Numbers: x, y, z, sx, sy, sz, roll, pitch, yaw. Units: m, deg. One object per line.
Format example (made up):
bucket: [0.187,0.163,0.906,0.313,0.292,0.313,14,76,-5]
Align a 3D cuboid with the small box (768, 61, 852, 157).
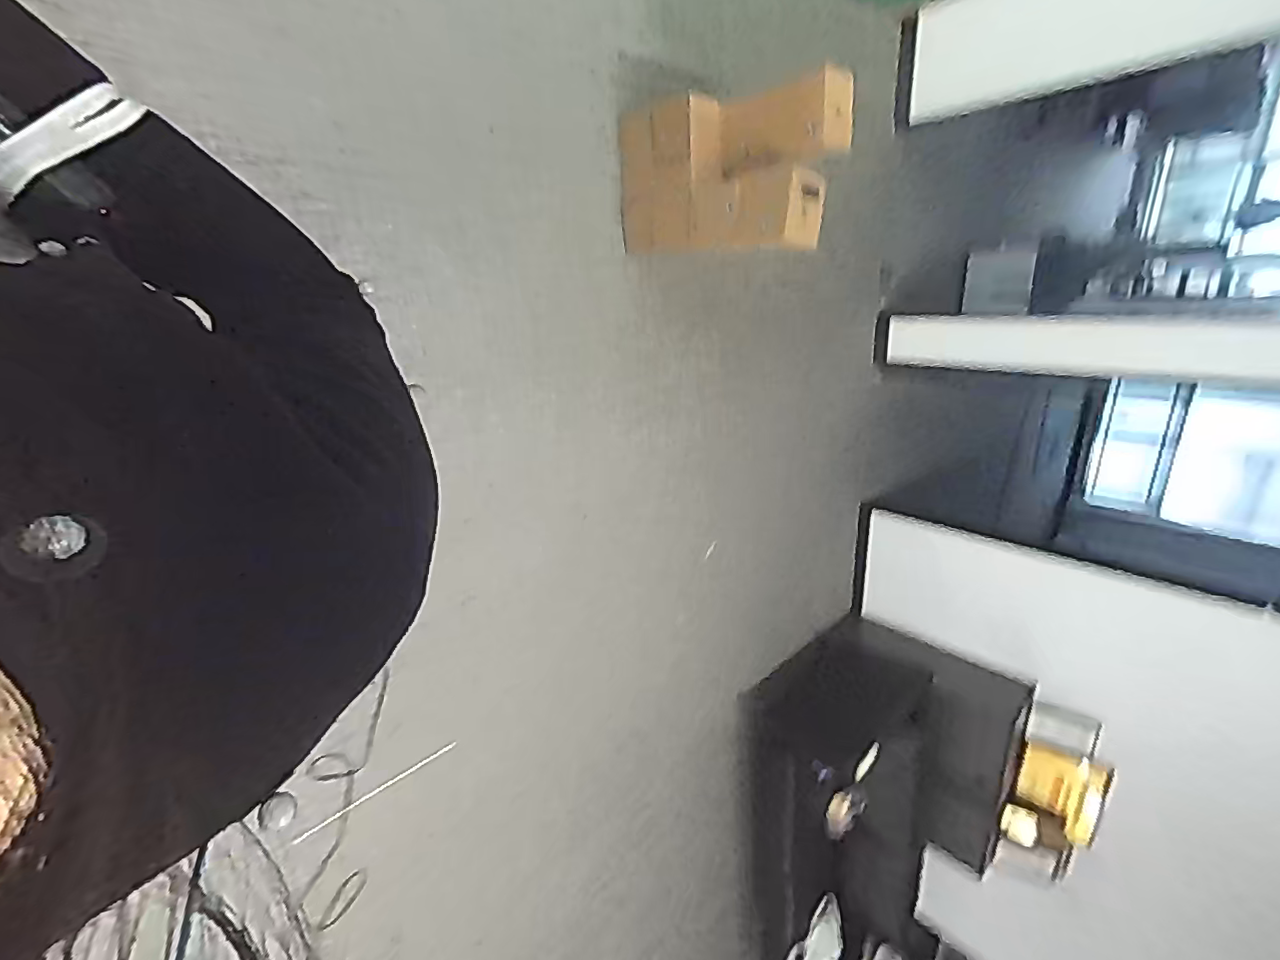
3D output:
small box: [0.466,-1.013,1.491,0.168,0.176,0.179,-24,119,-39]
